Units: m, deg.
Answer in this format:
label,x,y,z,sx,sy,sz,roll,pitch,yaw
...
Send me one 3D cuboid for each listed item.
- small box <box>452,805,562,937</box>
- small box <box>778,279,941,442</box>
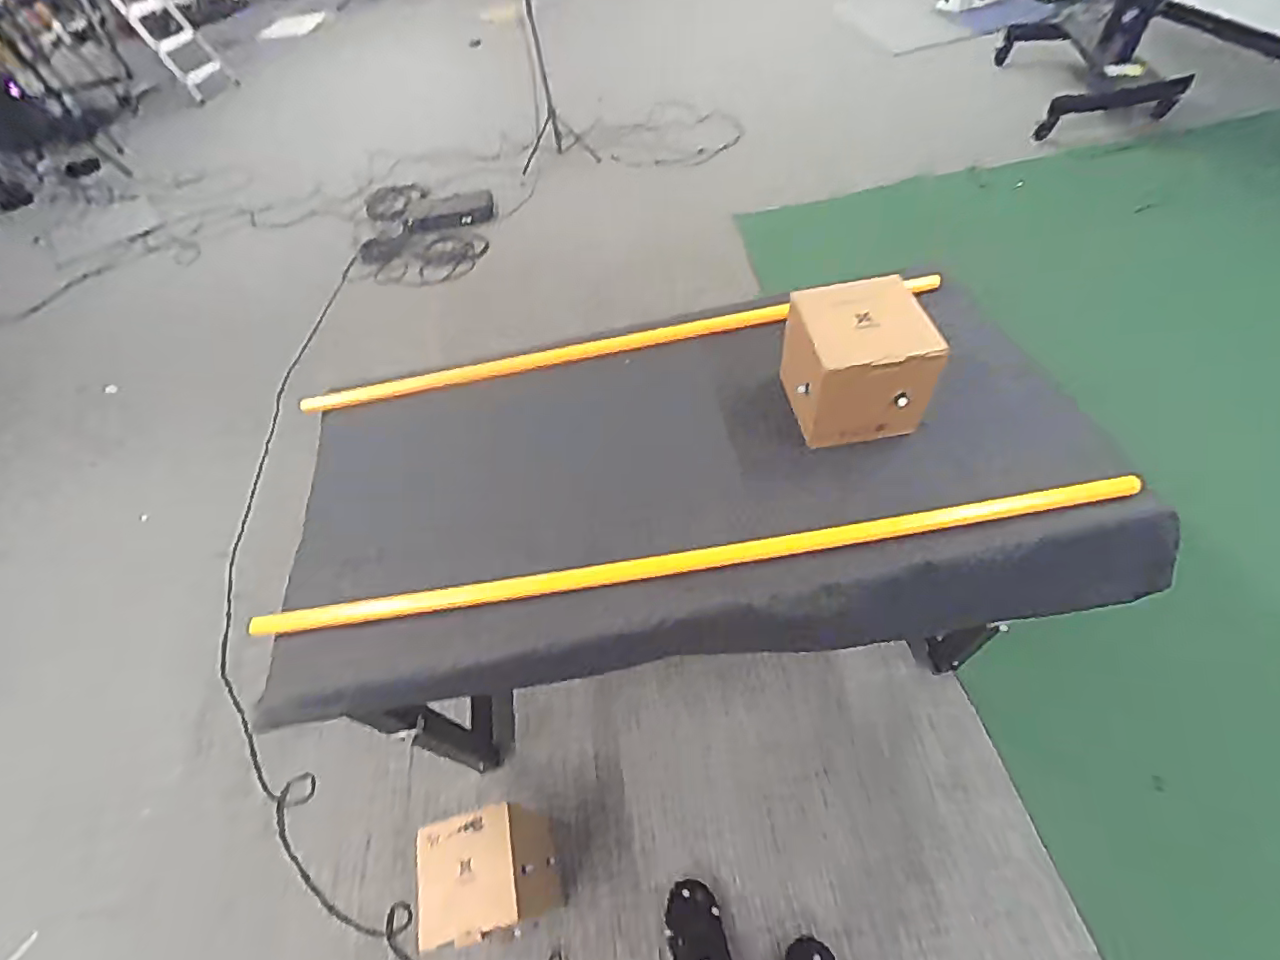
label,x,y,z,sx,sy,sz,roll,pitch,yaw
small box,-0.270,0.796,1.108,0.168,0.176,0.179,-17,54,-4
small box,0.318,-0.174,0.824,0.168,0.176,0.179,-9,52,1
